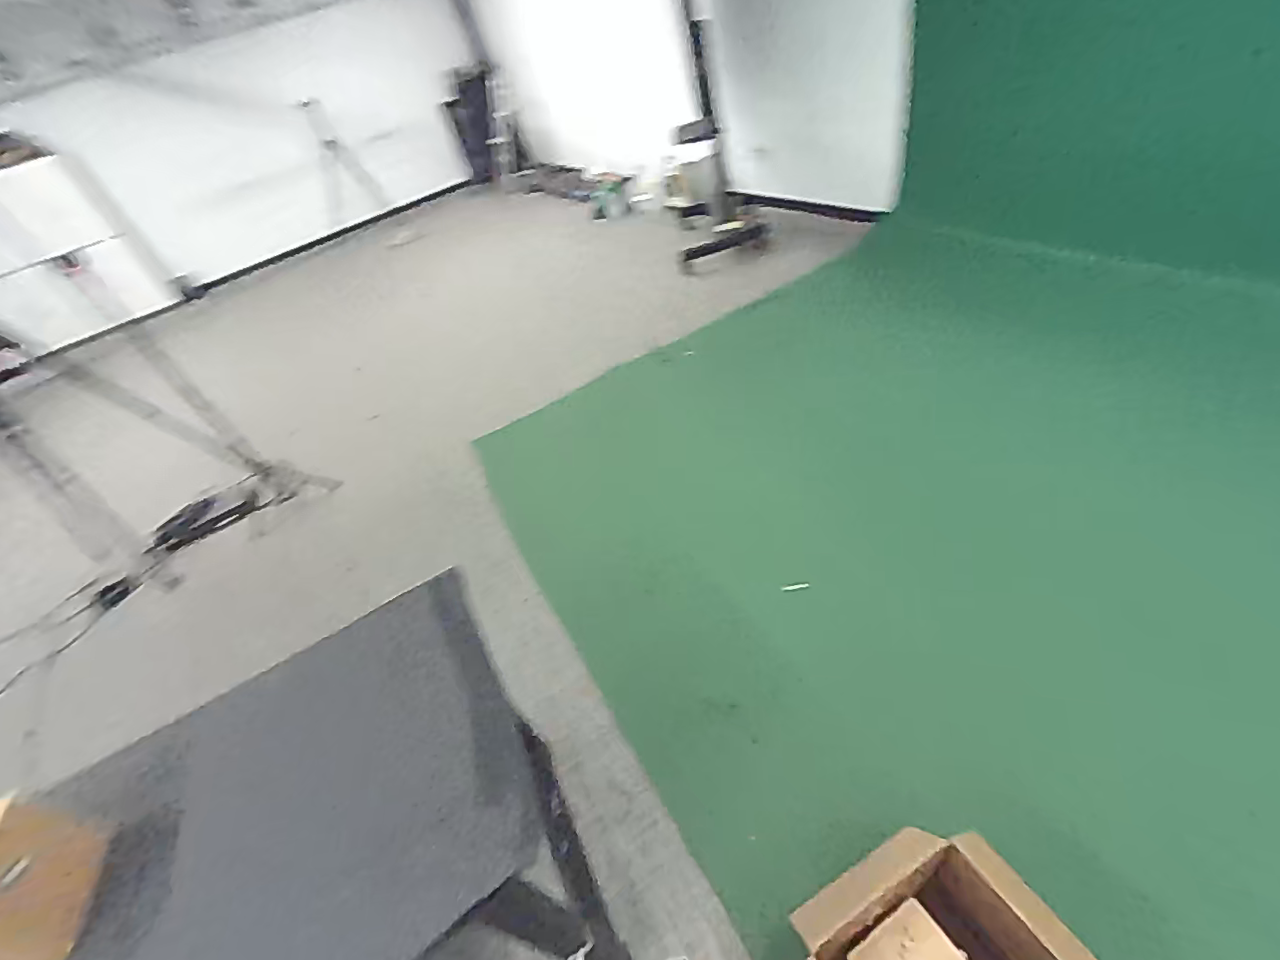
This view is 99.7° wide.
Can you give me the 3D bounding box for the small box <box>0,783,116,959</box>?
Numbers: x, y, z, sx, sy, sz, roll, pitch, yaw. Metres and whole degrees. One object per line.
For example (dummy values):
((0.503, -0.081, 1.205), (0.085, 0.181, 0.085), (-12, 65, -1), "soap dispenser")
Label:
((-0.902, 0.573, 0.753), (0.168, 0.176, 0.179), (-26, 40, -9), "small box")
